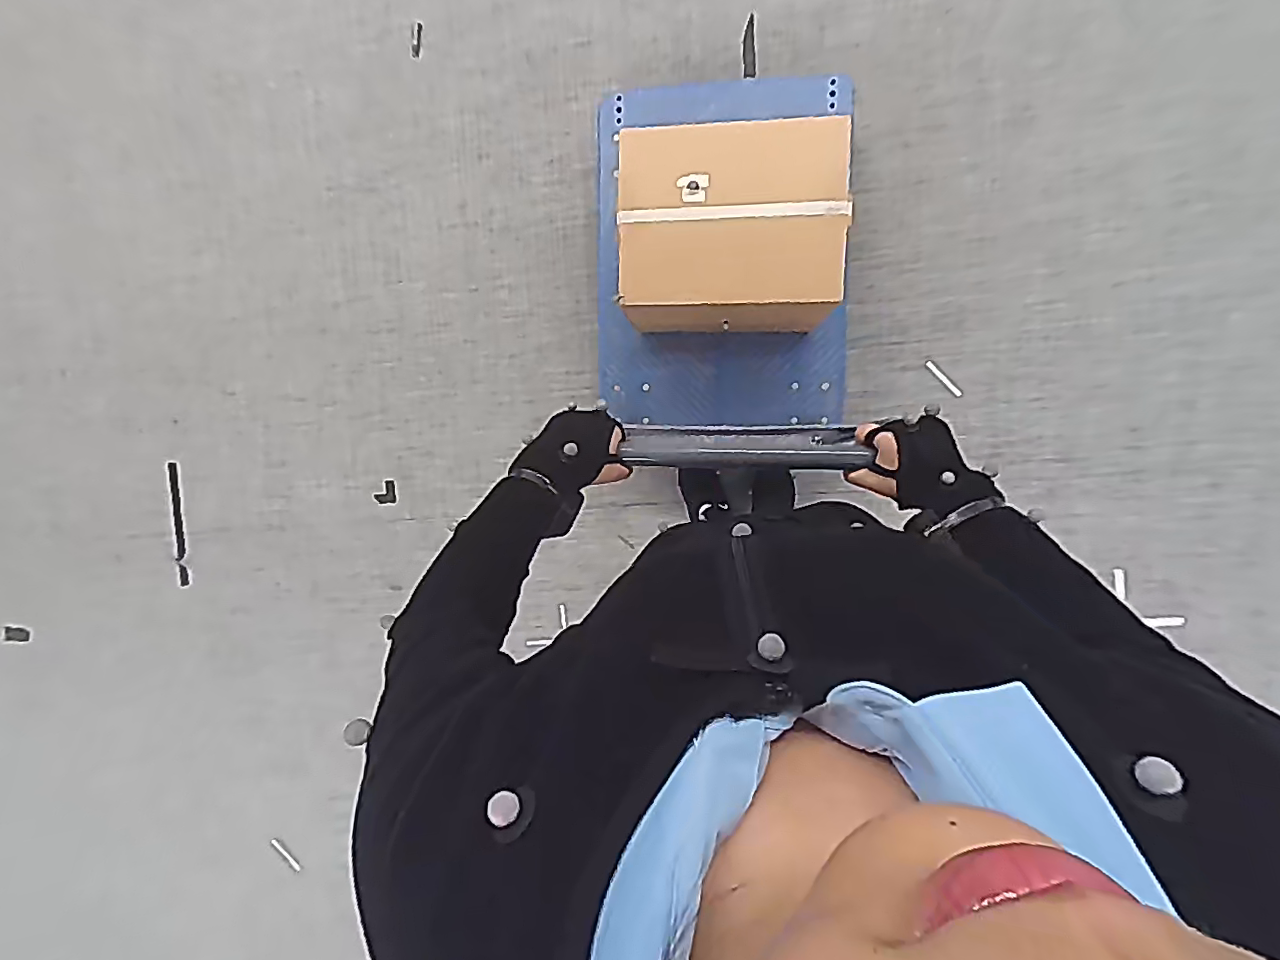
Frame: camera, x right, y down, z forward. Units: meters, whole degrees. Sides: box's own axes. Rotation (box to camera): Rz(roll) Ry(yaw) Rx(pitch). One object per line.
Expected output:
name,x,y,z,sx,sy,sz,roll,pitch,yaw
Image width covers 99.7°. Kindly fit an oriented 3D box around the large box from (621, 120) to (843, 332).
large box,0.185,-0.495,1.134,0.408,0.320,0.320,1,95,9
